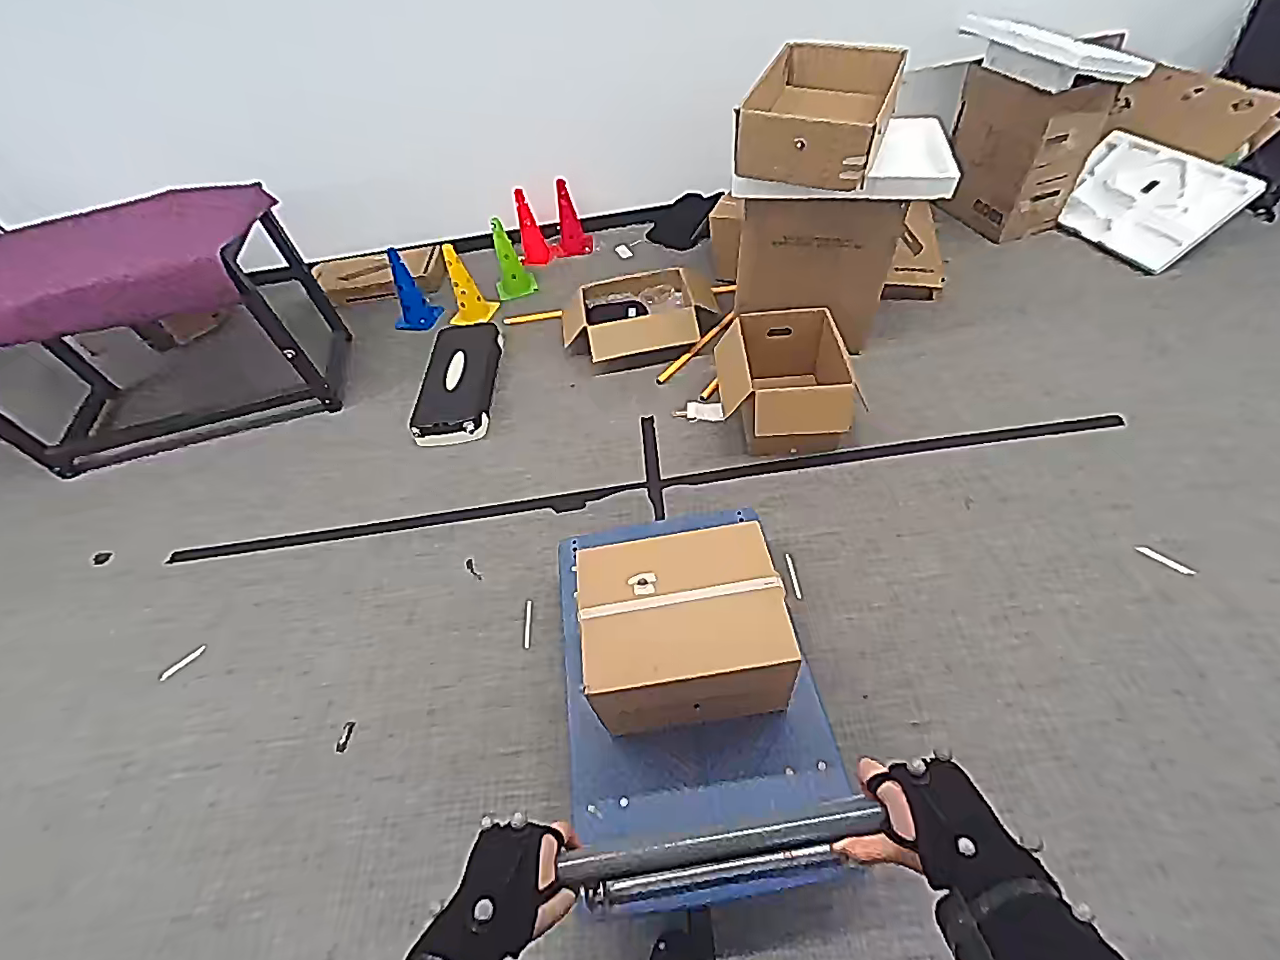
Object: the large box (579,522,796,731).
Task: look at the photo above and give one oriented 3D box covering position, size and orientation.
[{"bbox_3d":[0.100,0.337,1.218,0.408,0.320,0.320,-11,50,1],"label":"large box"}]
